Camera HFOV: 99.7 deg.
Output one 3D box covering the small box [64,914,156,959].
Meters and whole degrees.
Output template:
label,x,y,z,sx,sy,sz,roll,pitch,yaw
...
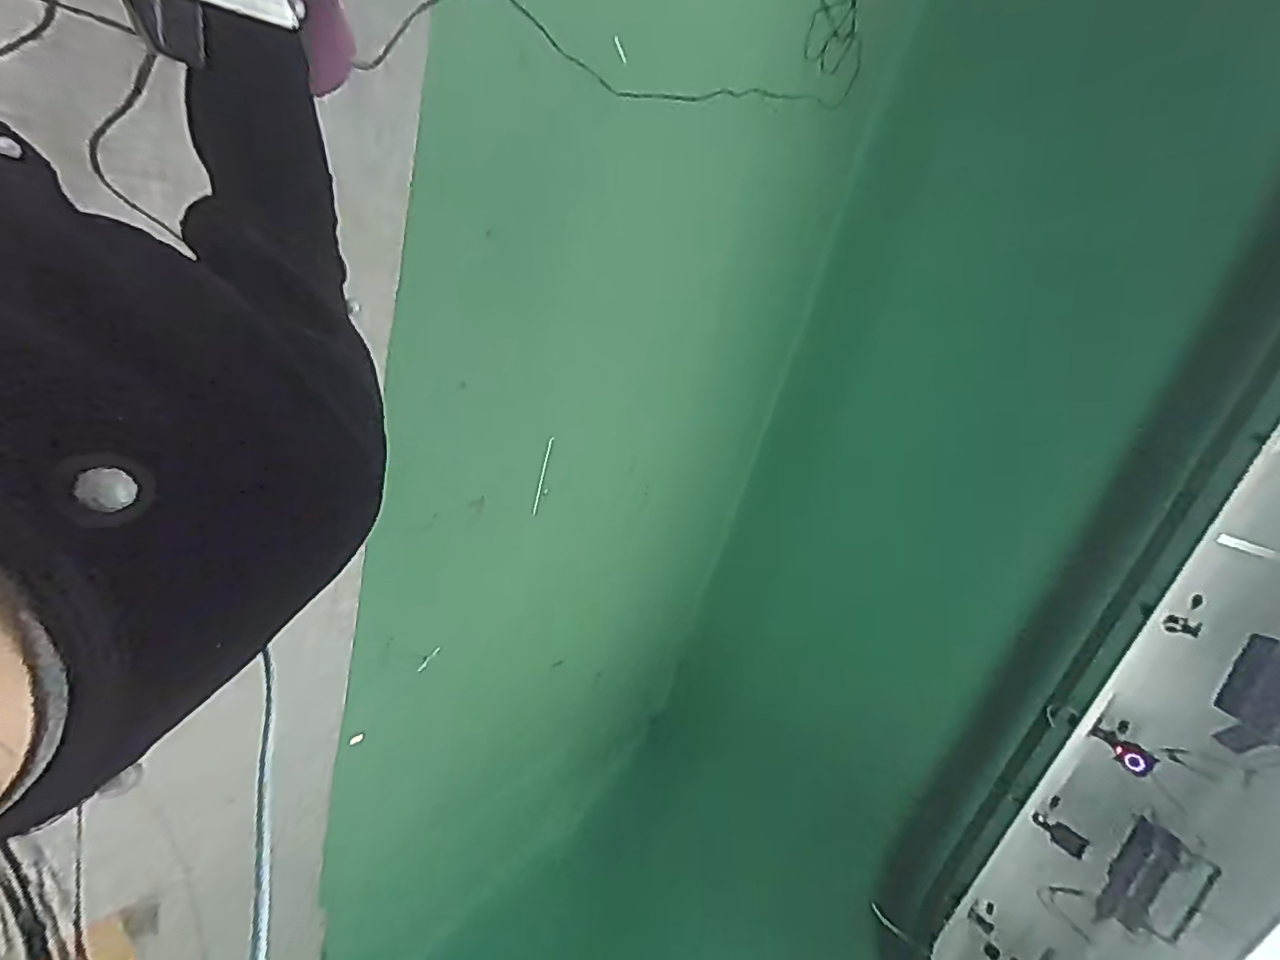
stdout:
label,x,y,z,sx,sy,sz,roll,pitch,yaw
small box,-1.529,1.423,1.553,0.179,0.176,0.168,-13,123,-54
